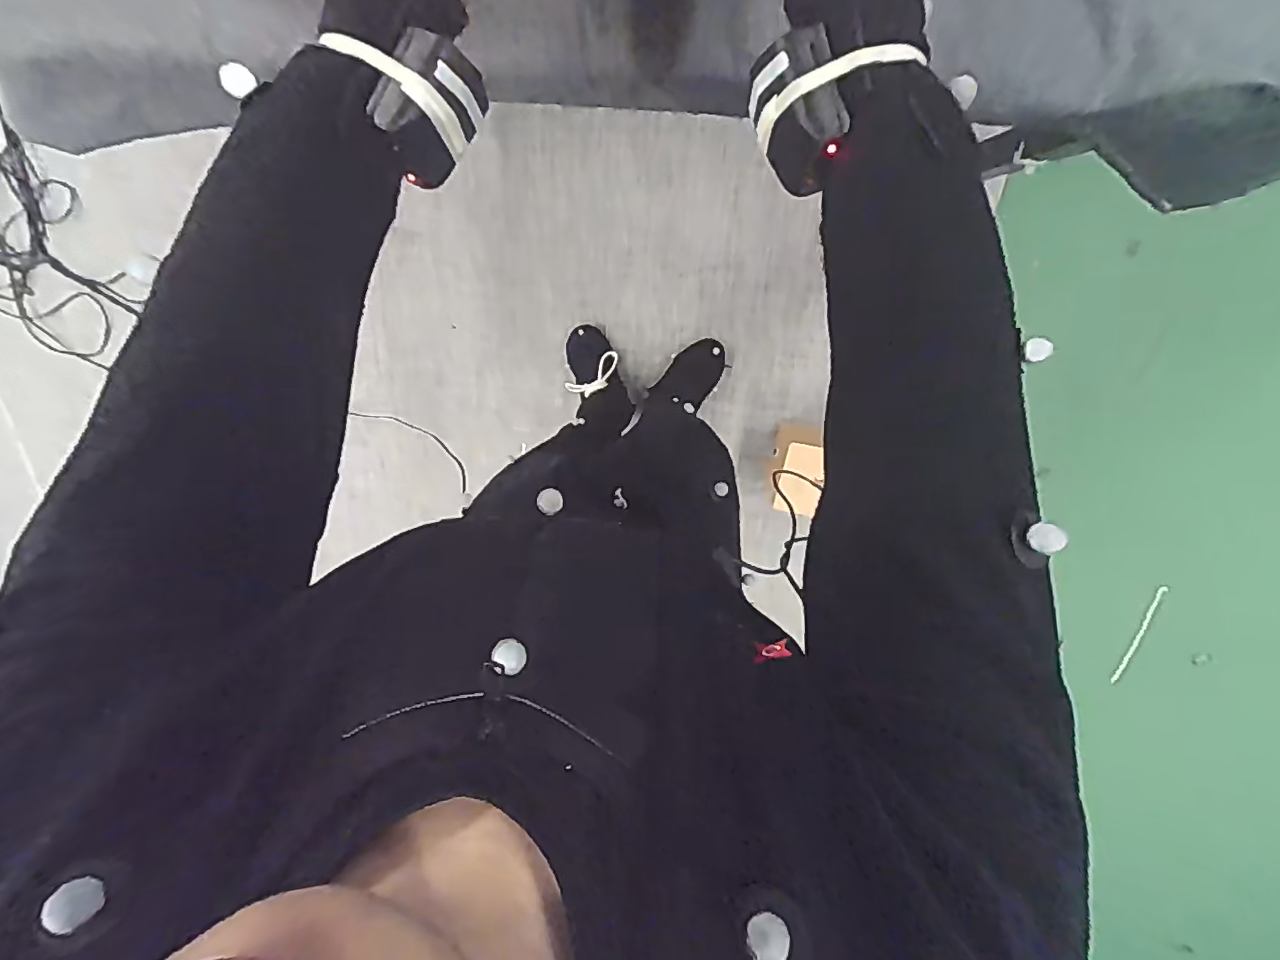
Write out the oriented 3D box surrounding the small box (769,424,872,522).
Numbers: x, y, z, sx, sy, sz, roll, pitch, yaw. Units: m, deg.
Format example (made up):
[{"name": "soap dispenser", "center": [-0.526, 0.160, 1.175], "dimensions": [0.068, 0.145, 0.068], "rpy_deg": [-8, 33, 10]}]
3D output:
[{"name": "small box", "center": [0.410, -0.022, 1.259], "dimensions": [0.179, 0.176, 0.168], "rpy_deg": [10, 112, 4]}]
